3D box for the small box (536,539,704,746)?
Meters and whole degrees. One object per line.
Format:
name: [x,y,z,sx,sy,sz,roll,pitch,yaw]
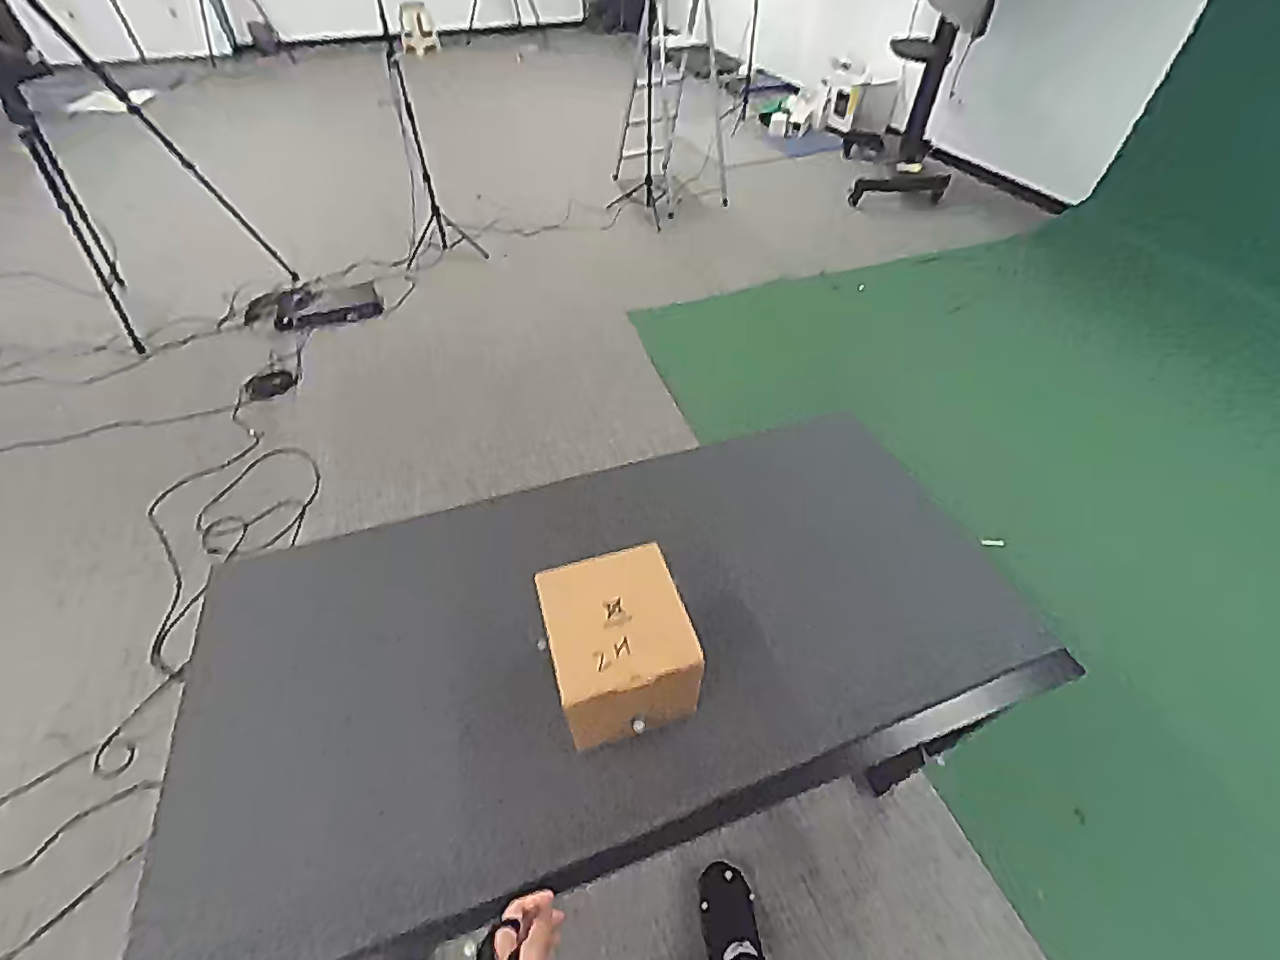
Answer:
small box: [-0.030,0.210,0.701,0.168,0.176,0.179,-14,48,-12]
